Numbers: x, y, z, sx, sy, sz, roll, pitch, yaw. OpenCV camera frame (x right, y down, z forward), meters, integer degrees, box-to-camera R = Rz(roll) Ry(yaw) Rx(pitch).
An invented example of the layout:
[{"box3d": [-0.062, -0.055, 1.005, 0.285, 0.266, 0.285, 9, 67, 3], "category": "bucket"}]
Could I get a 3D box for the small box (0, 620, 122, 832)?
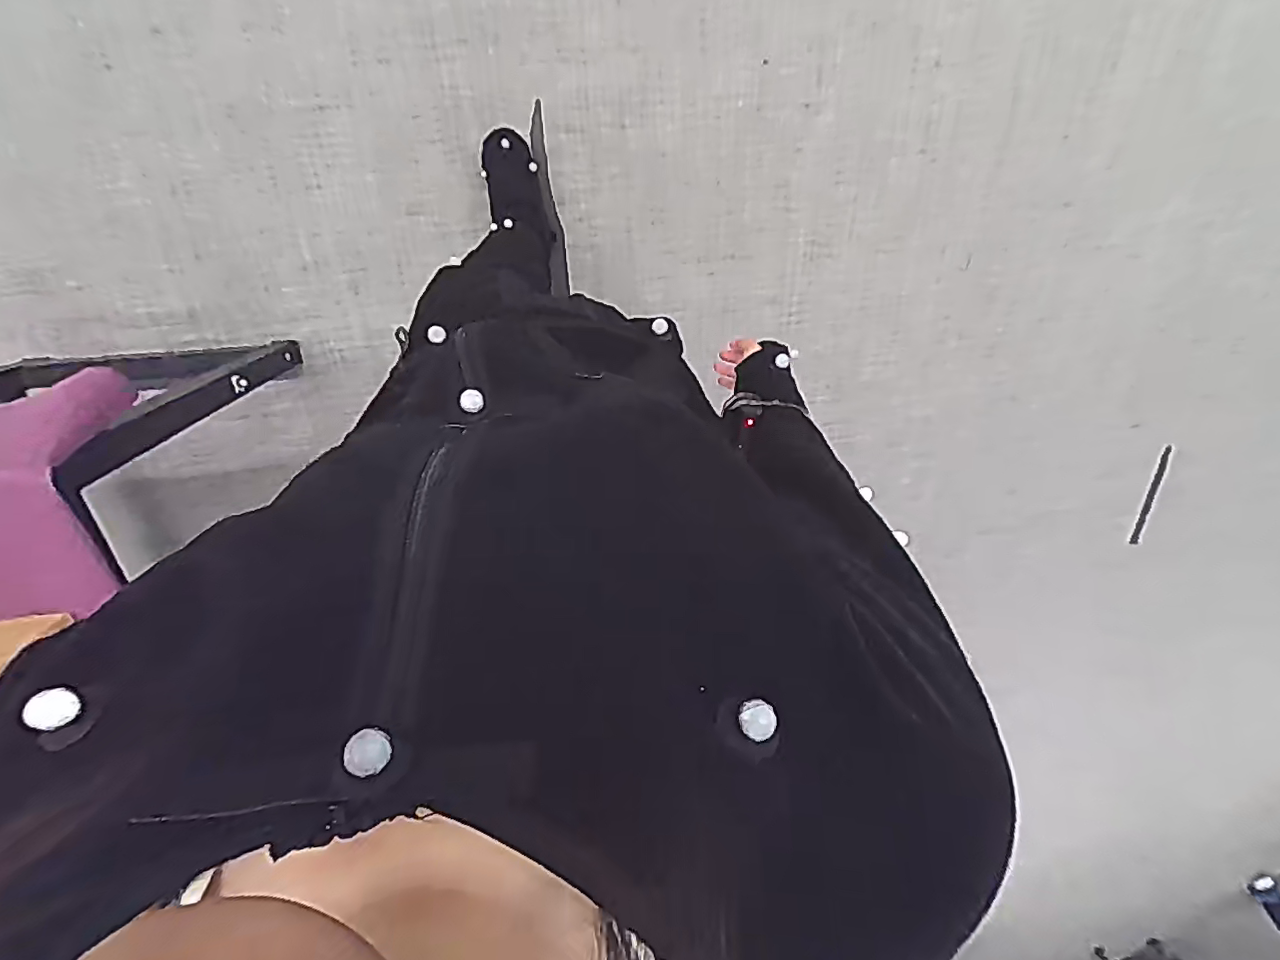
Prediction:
[{"box3d": [-0.763, 0.281, 0.621, 0.179, 0.176, 0.168, -7, 116, -4], "category": "small box"}]
